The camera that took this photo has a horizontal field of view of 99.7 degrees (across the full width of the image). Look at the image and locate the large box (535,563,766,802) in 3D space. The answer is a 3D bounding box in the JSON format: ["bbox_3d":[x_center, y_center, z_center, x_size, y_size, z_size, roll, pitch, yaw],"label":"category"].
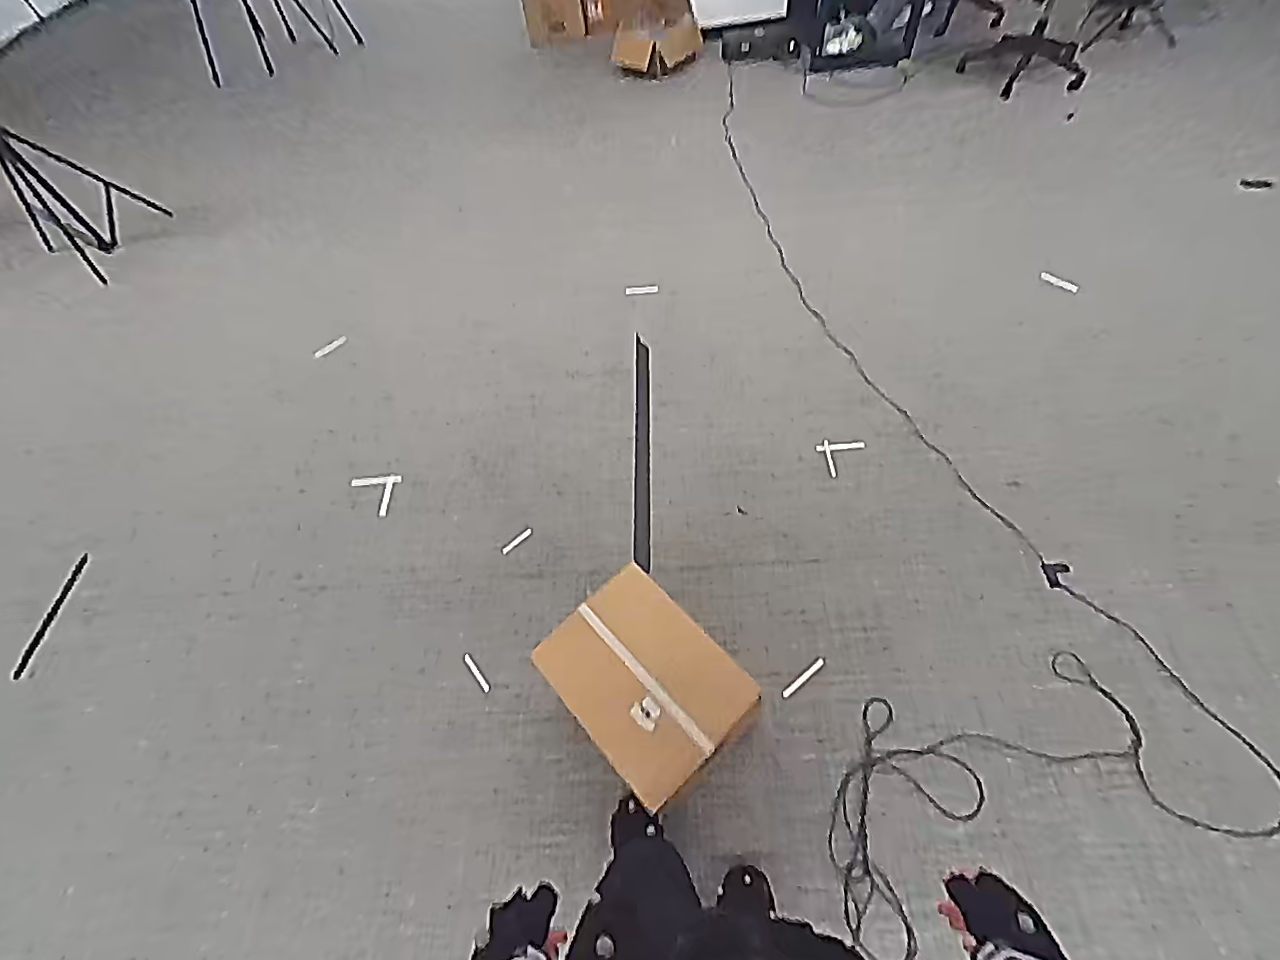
[{"bbox_3d":[0.030,0.473,1.266,0.320,0.320,0.408,-43,63,-16],"label":"large box"}]
